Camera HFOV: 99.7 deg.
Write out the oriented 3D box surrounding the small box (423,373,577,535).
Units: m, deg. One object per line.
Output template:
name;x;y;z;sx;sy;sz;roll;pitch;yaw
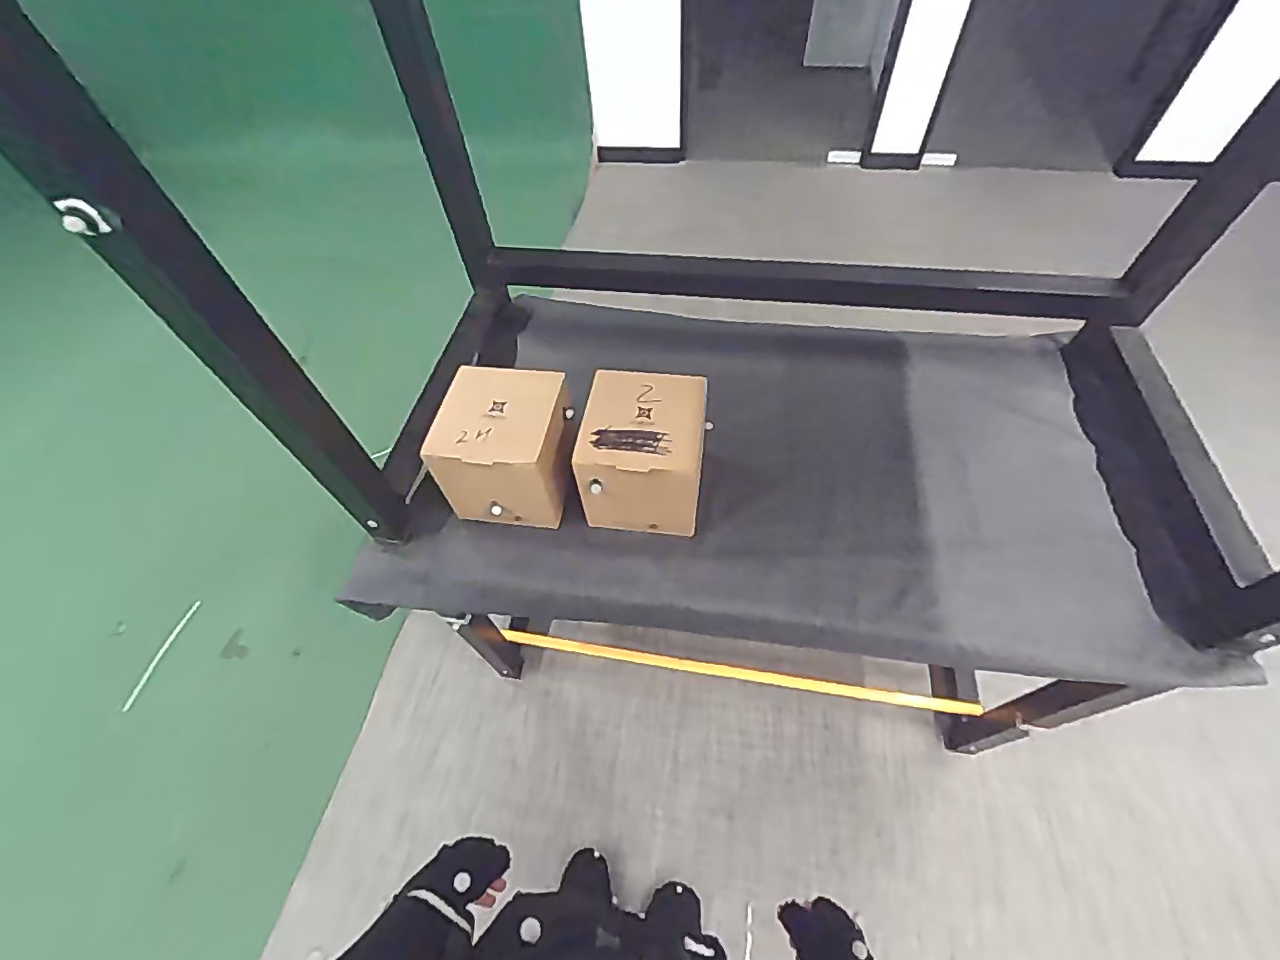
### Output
small box;-0.198;-0.039;0.829;0.168;0.176;0.179;5;55;7
